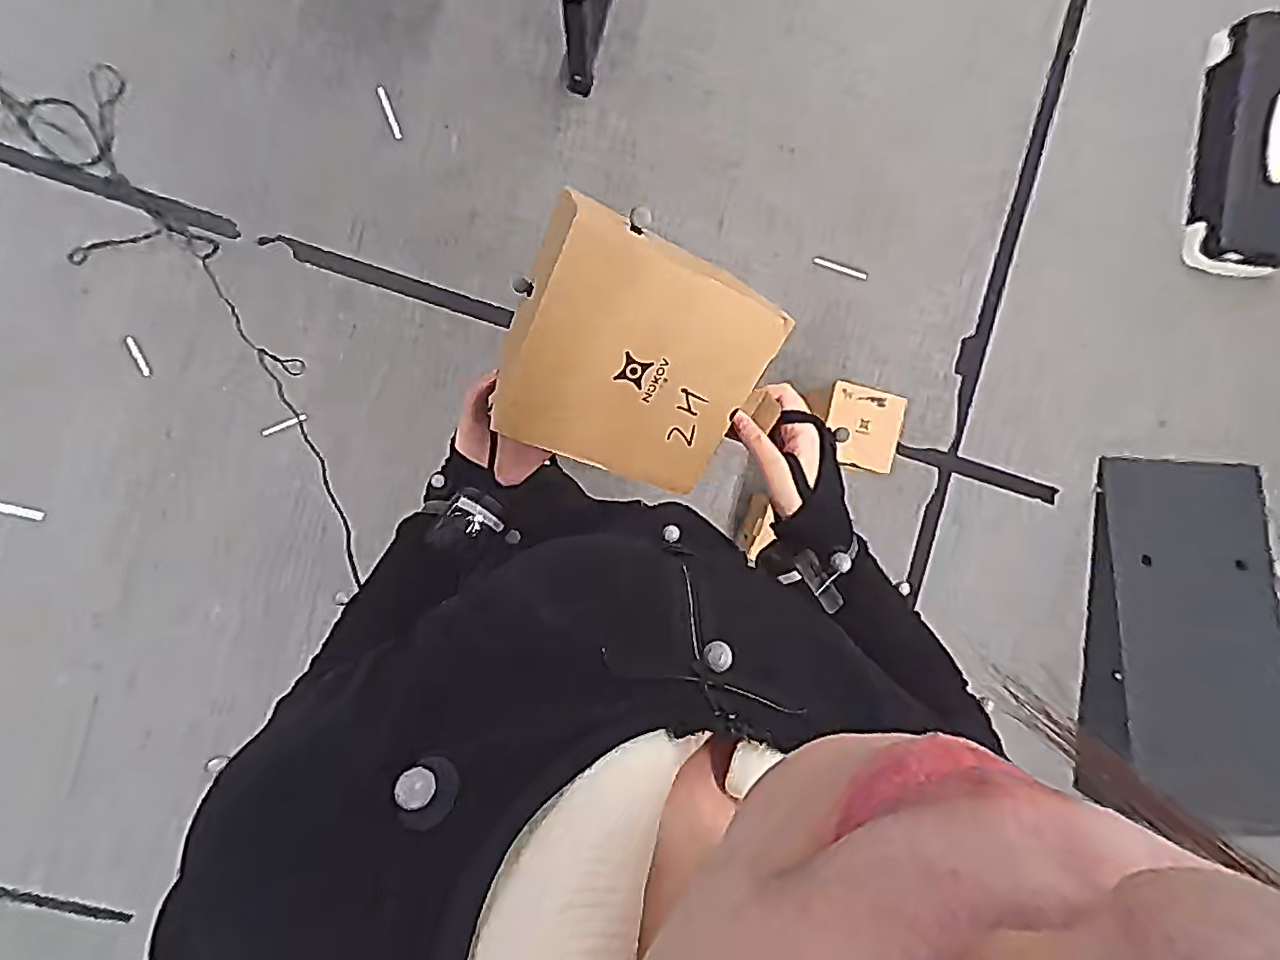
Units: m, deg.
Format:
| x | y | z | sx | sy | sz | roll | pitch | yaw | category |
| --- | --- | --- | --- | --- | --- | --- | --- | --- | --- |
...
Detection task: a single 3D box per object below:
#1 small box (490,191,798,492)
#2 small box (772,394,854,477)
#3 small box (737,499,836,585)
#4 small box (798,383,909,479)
| x | y | z | sx | sy | sz | roll | pitch | yaw | category |
| --- | --- | --- | --- | --- | --- | --- | --- | --- | --- |
| -0.011 | -0.121 | 0.454 | 0.179 | 0.176 | 0.168 | 18 | 116 | -22 | small box |
| 0.469 | -0.111 | 1.418 | 0.179 | 0.176 | 0.168 | 19 | 91 | -4 | small box |
| 0.376 | 0.156 | 1.423 | 0.179 | 0.176 | 0.168 | 22 | 91 | -4 | small box |
| 0.483 | -0.110 | 1.254 | 0.168 | 0.176 | 0.179 | 14 | 92 | -4 | small box |
